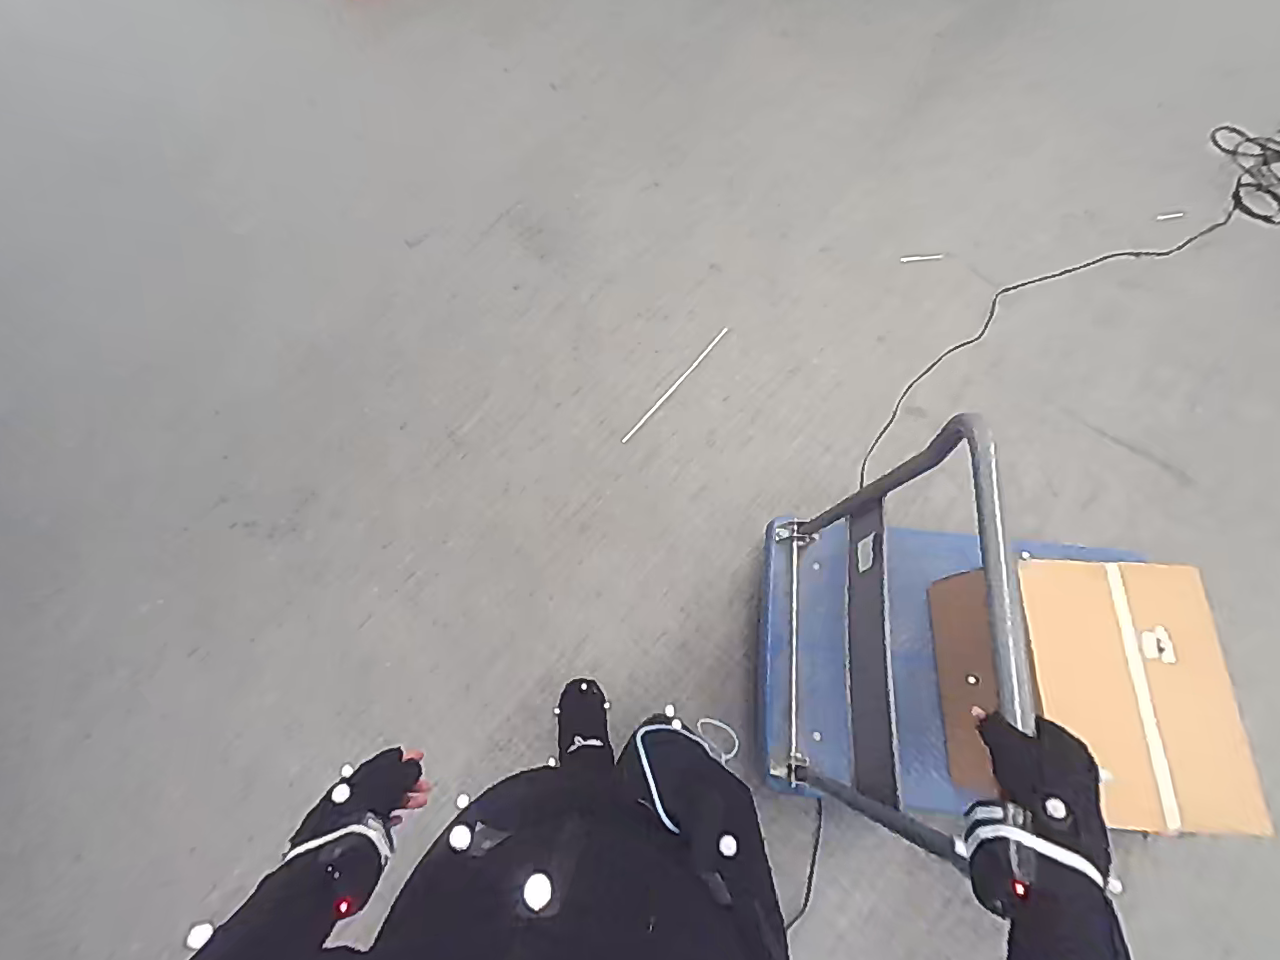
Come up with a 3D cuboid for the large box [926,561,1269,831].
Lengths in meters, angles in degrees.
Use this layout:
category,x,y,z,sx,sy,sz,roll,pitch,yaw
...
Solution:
category,x,y,z,sx,sy,sz,roll,pitch,yaw
large box,0.782,0.382,1.003,0.320,0.320,0.408,3,70,0
